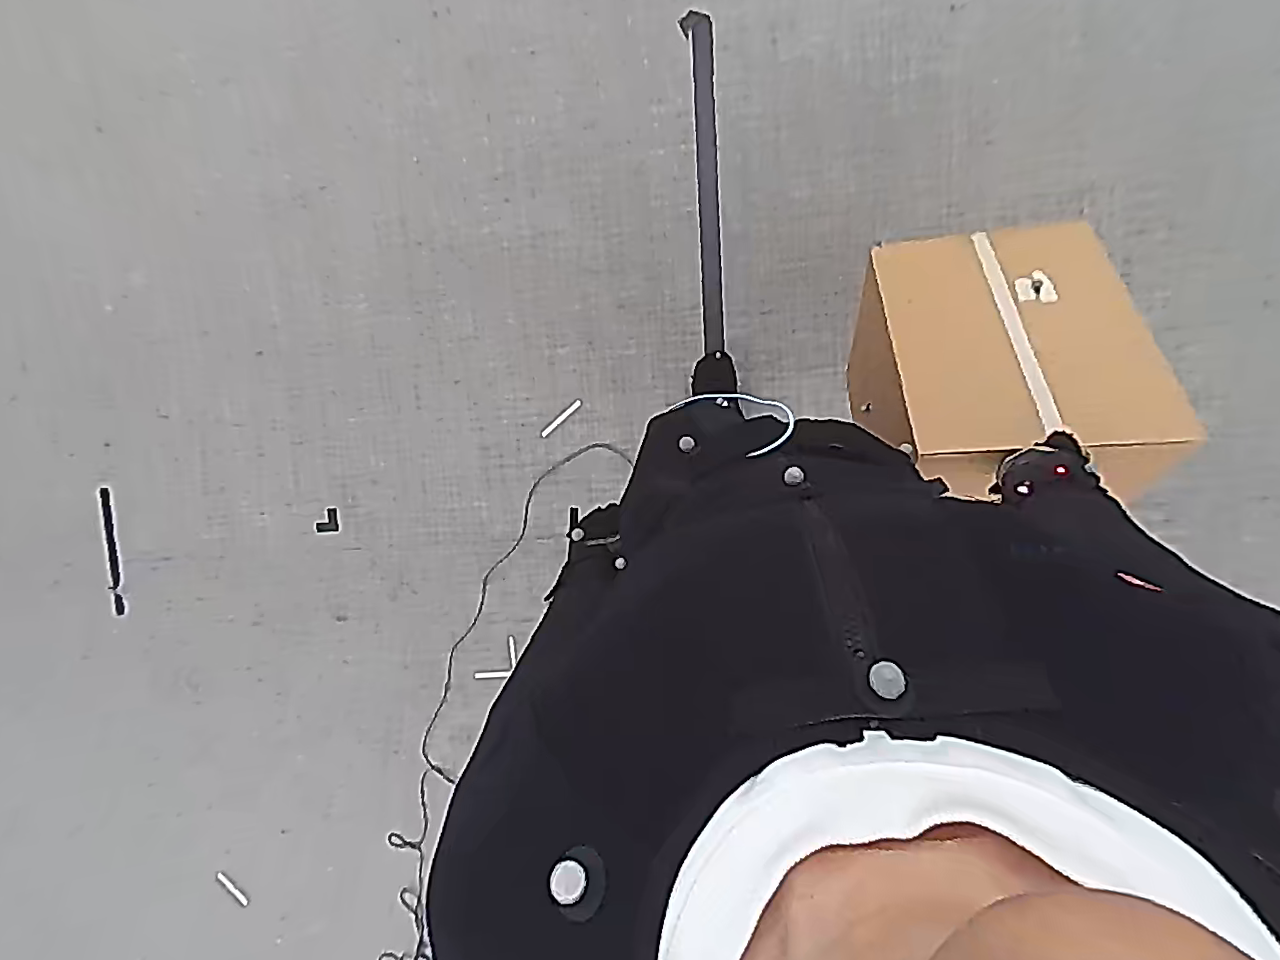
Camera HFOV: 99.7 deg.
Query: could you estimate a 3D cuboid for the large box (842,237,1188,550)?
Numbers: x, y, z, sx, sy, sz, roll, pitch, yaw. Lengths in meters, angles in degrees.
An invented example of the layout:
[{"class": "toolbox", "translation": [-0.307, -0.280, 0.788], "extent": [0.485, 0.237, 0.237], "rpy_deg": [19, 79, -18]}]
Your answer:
[{"class": "large box", "translation": [0.542, -0.130, 0.898], "extent": [0.320, 0.320, 0.408], "rpy_deg": [-2, 57, 9]}]
